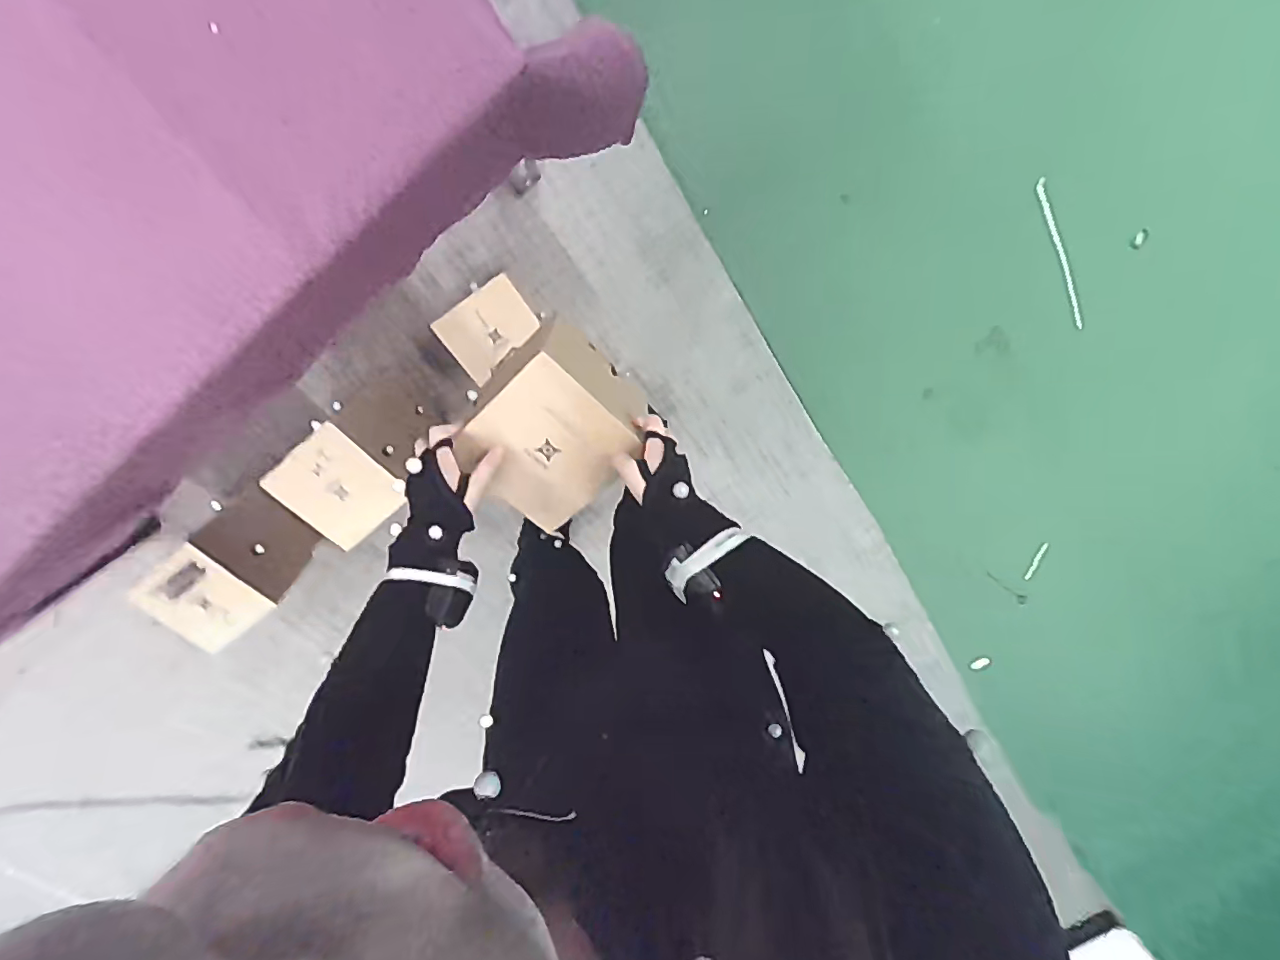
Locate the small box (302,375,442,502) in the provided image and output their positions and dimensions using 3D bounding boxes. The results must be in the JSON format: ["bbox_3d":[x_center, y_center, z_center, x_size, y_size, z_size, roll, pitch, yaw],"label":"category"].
[{"bbox_3d":[-0.539,-0.090,1.117,0.179,0.176,0.168,-36,113,8],"label":"small box"}]
